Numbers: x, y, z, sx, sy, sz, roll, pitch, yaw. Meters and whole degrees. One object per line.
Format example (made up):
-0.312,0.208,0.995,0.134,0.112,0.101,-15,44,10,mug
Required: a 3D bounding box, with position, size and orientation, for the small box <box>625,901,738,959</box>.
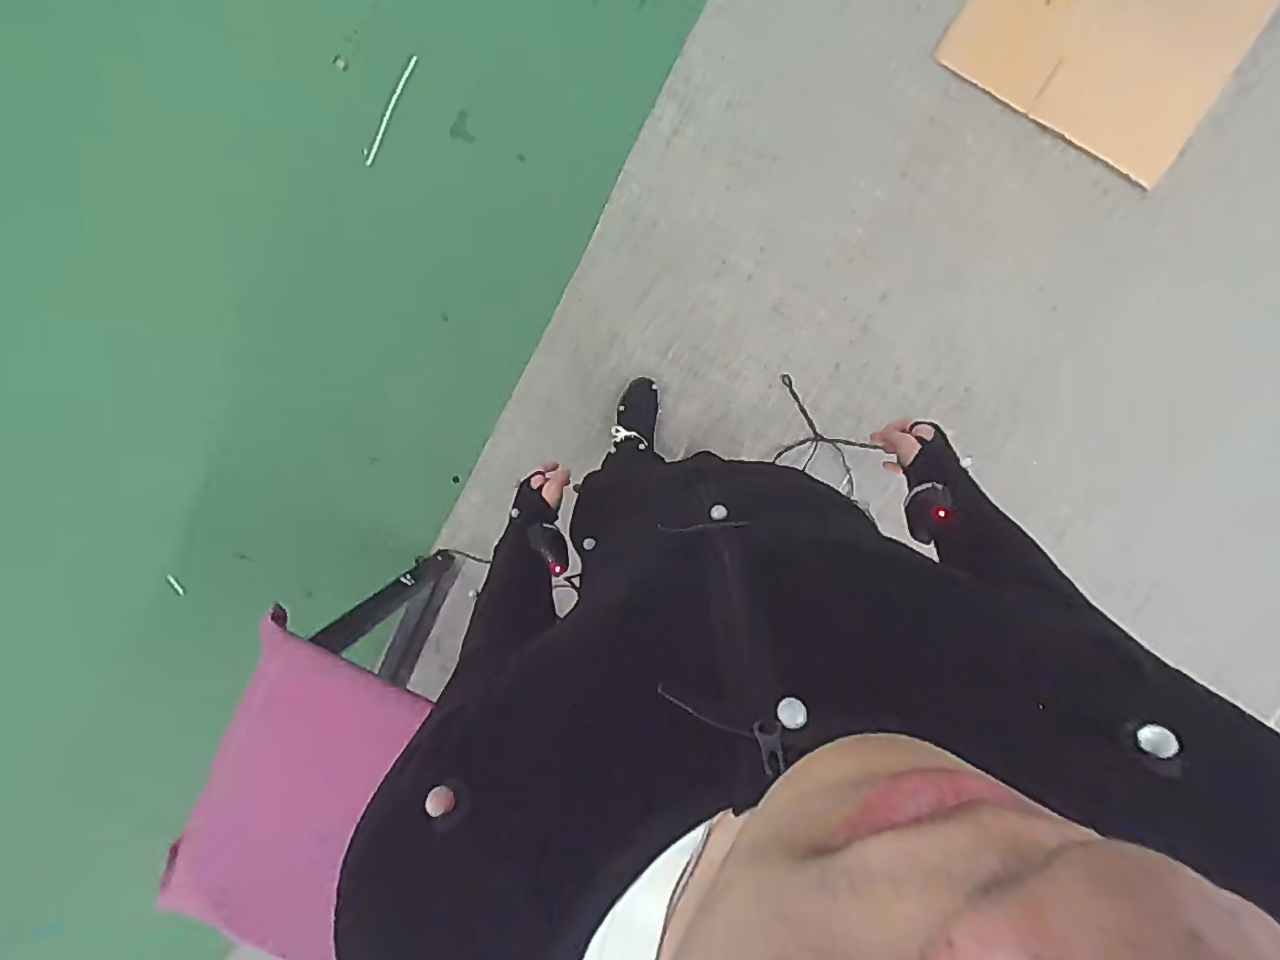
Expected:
0.068,0.888,0.932,0.168,0.176,0.179,25,99,-1,small box
